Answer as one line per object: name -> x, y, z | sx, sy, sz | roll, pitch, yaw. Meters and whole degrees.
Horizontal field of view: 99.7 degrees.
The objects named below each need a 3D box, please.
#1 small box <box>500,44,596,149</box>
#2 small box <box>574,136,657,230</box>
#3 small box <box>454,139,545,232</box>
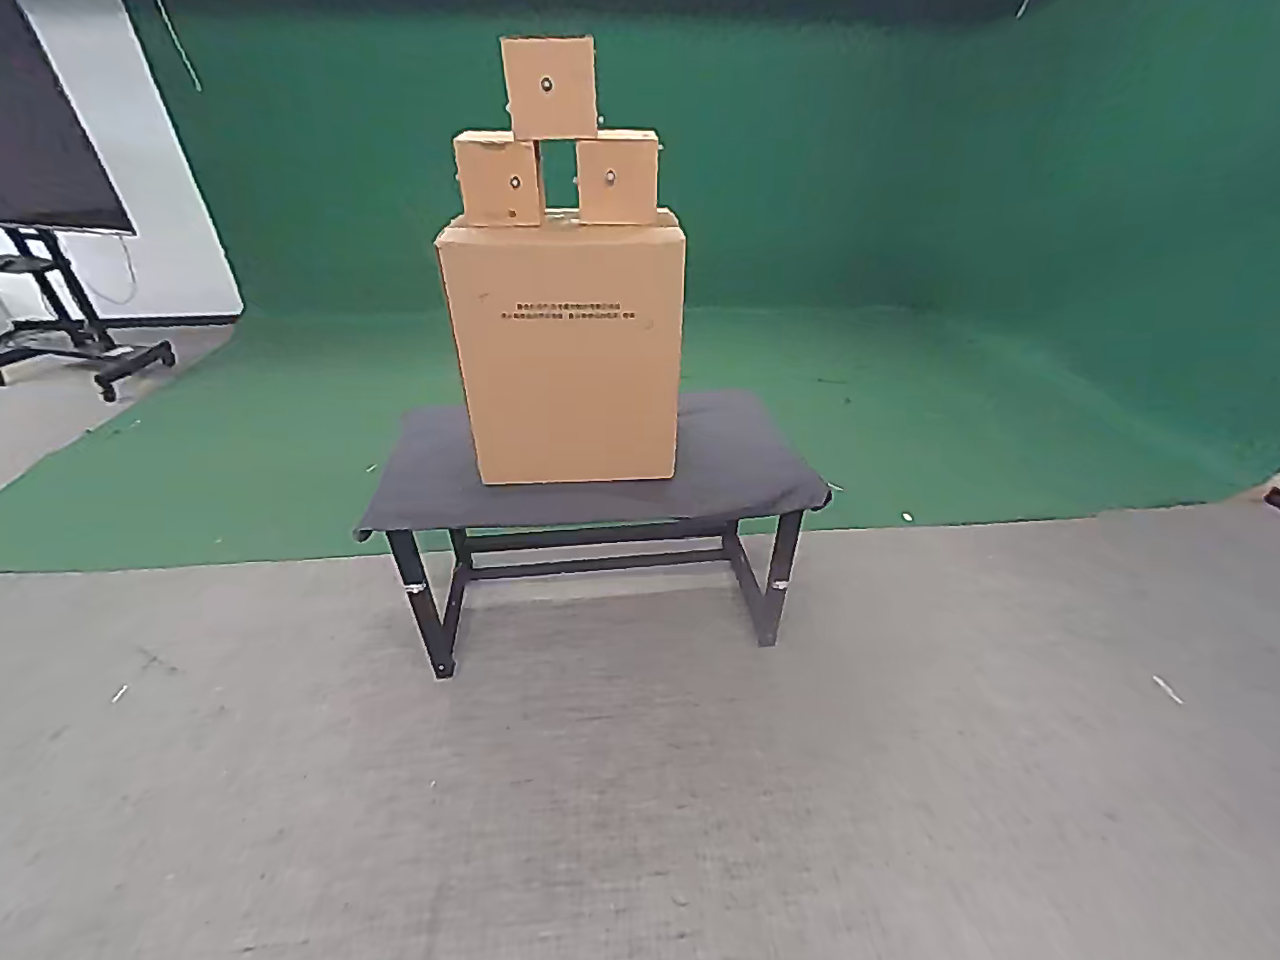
small box -> -0.183, -0.809, 1.140 | 0.179, 0.176, 0.168 | -4, 37, -3
small box -> -0.054, -0.685, 1.247 | 0.179, 0.176, 0.168 | -2, 38, -2
small box -> -0.310, -0.672, 1.233 | 0.168, 0.176, 0.179 | -2, 36, -5
